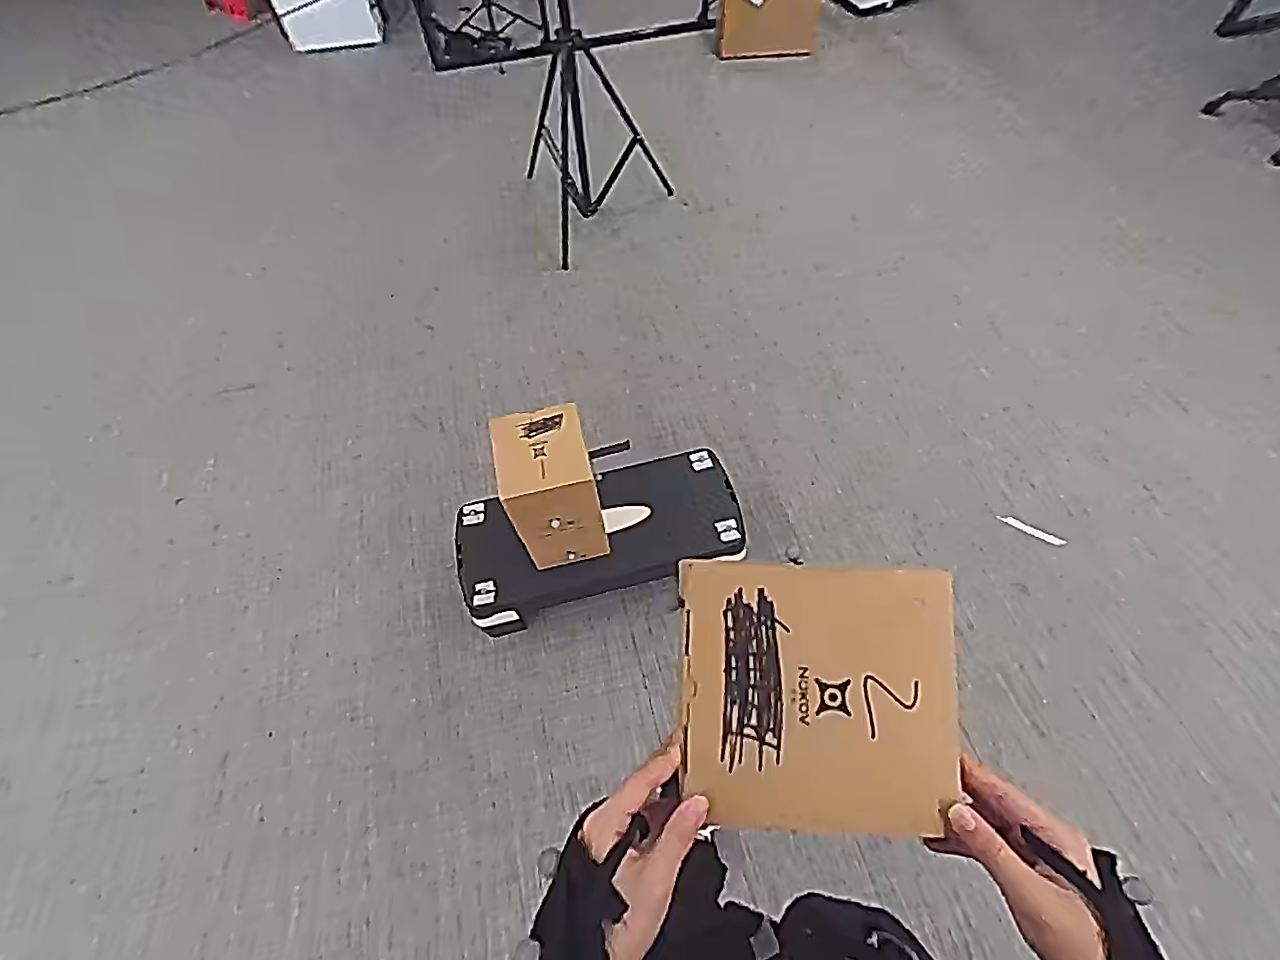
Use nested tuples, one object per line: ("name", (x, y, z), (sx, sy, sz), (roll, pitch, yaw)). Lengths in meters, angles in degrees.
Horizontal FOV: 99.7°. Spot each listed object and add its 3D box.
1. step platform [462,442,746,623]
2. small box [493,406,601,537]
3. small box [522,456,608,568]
("step platform", (-0.087, 0.124, 1.351), (0.684, 0.204, 0.286), (-14, 60, -5))
("small box", (-0.176, -0.013, 1.043), (0.168, 0.176, 0.179), (-13, 61, -5))
("small box", (-0.168, 0.071, 1.183), (0.168, 0.176, 0.179), (-12, 61, -4))
